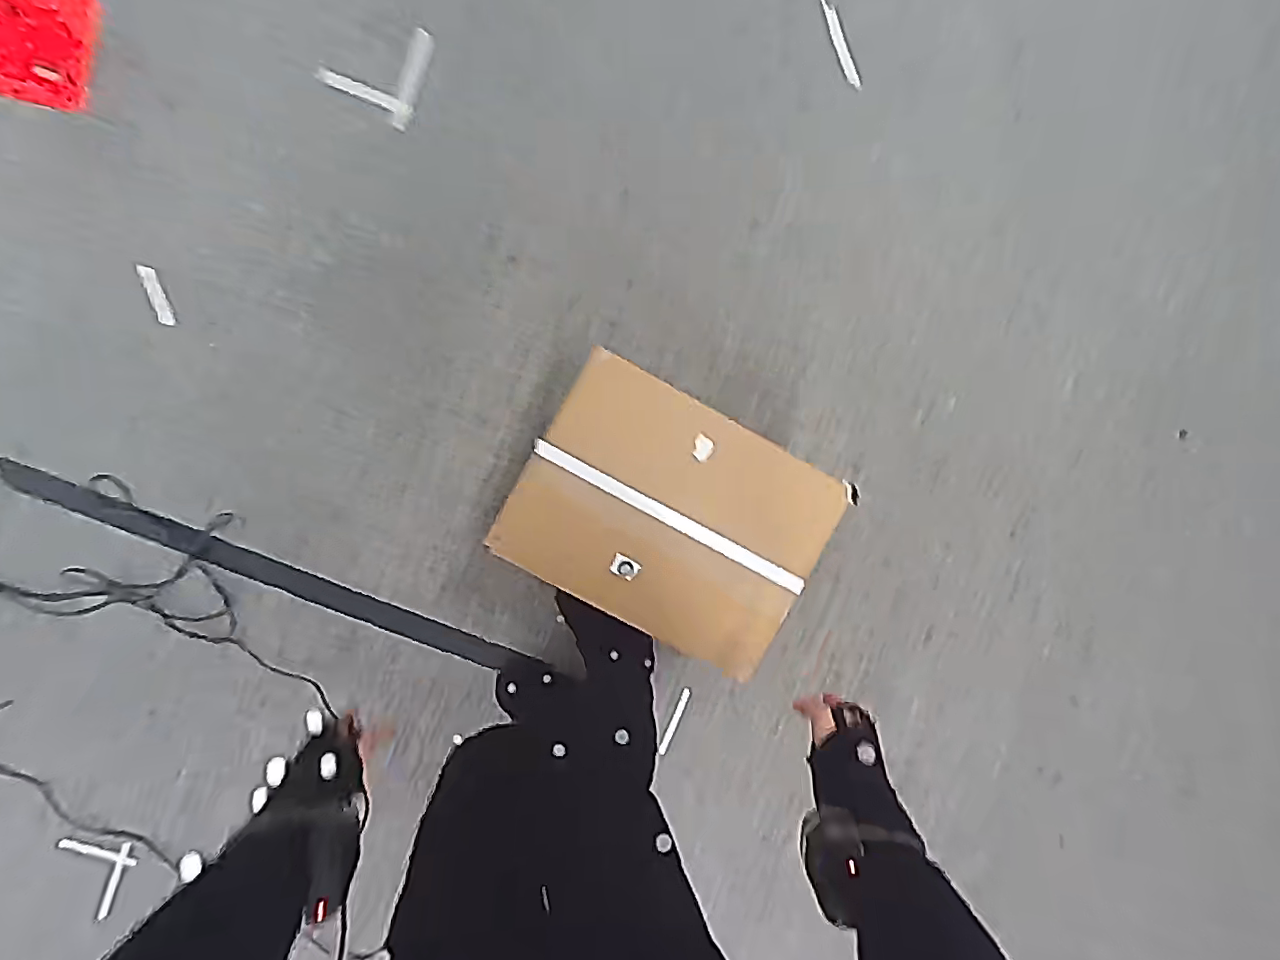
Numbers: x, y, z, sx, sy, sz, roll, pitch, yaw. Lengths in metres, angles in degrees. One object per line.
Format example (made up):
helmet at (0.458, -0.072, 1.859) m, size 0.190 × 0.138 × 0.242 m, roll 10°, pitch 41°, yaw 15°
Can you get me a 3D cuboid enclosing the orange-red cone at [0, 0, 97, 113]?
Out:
orange-red cone at (-1.005, -0.721, 0.726) m, size 0.198 × 0.360 × 0.199 m, roll 13°, pitch 91°, yaw -5°
